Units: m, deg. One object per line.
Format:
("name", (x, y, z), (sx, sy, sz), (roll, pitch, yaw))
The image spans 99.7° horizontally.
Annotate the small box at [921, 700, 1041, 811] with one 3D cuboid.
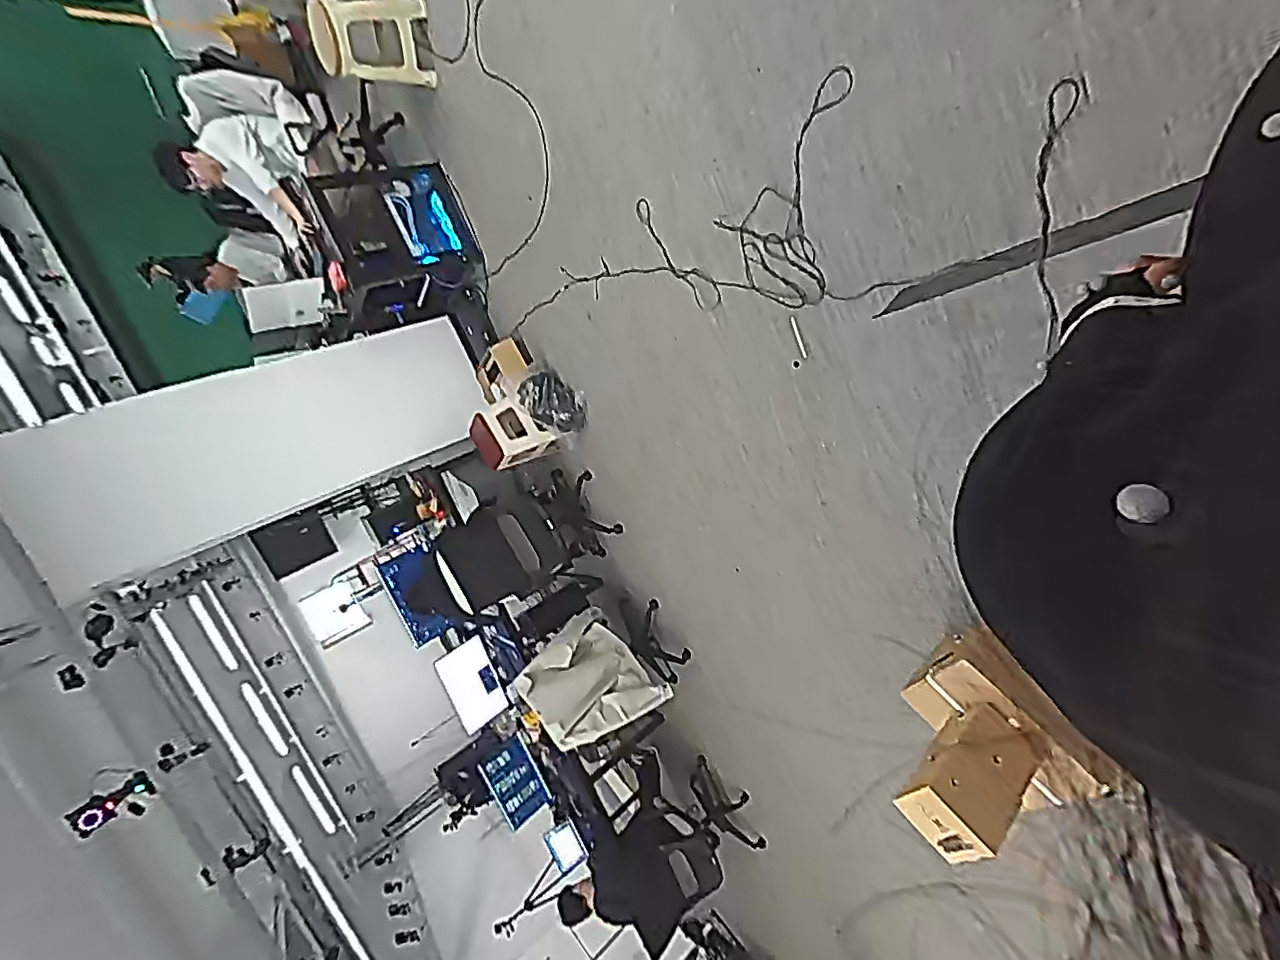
("small box", (0.891, 0.715, 1.411), (0.179, 0.176, 0.168), (46, 145, 25))
